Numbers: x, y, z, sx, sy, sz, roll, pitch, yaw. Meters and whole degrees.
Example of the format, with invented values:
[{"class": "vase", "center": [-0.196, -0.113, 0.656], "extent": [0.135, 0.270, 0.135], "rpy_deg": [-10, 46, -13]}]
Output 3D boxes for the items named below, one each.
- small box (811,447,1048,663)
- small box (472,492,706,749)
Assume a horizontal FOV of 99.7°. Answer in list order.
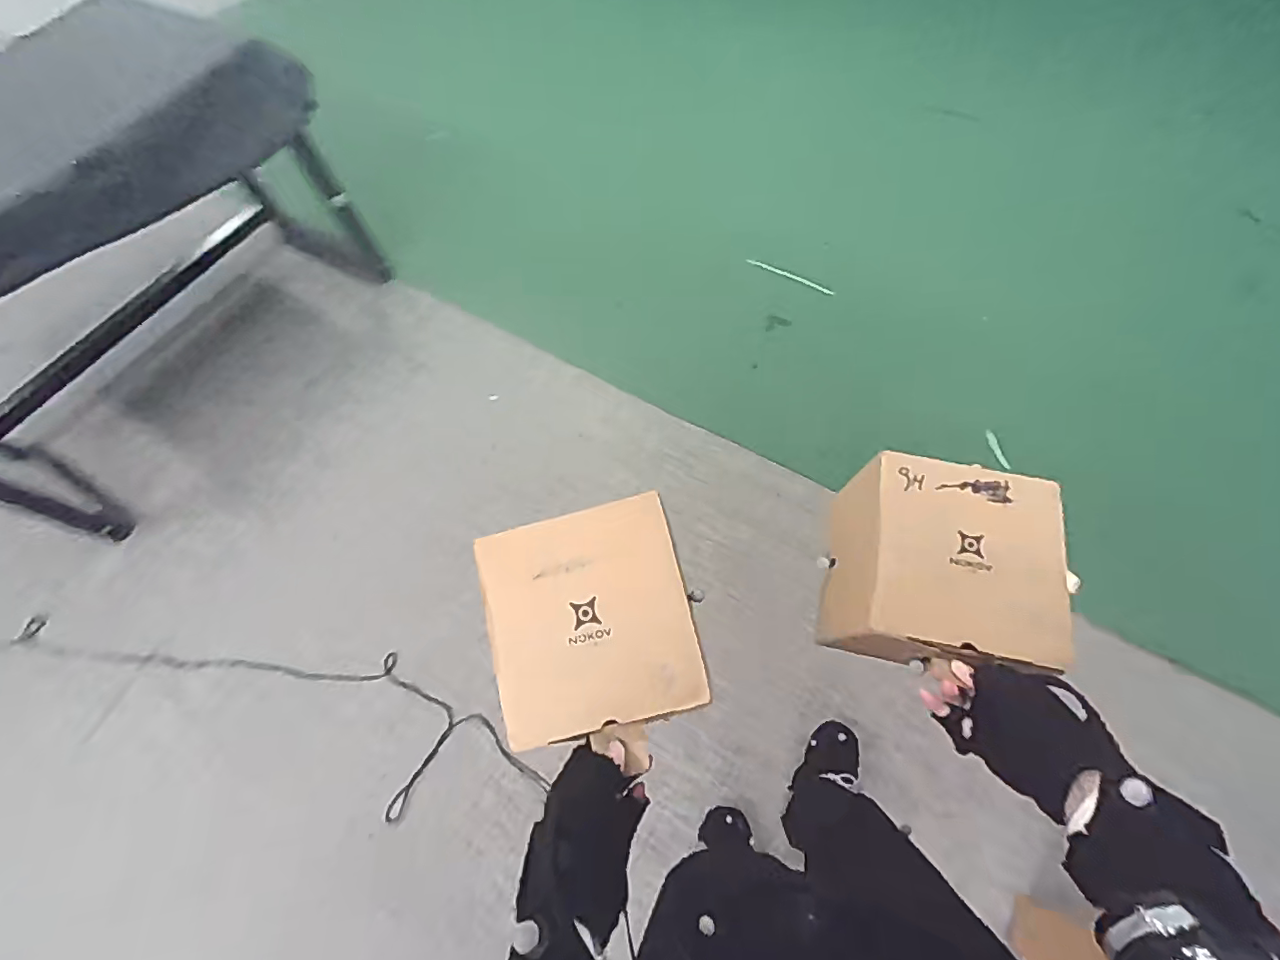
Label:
[{"class": "small box", "center": [0.288, 0.088, 0.571], "extent": [0.168, 0.176, 0.179], "rpy_deg": [10, 71, 4]}, {"class": "small box", "center": [-0.038, 0.129, 0.523], "extent": [0.168, 0.176, 0.179], "rpy_deg": [-17, 75, 1]}]
